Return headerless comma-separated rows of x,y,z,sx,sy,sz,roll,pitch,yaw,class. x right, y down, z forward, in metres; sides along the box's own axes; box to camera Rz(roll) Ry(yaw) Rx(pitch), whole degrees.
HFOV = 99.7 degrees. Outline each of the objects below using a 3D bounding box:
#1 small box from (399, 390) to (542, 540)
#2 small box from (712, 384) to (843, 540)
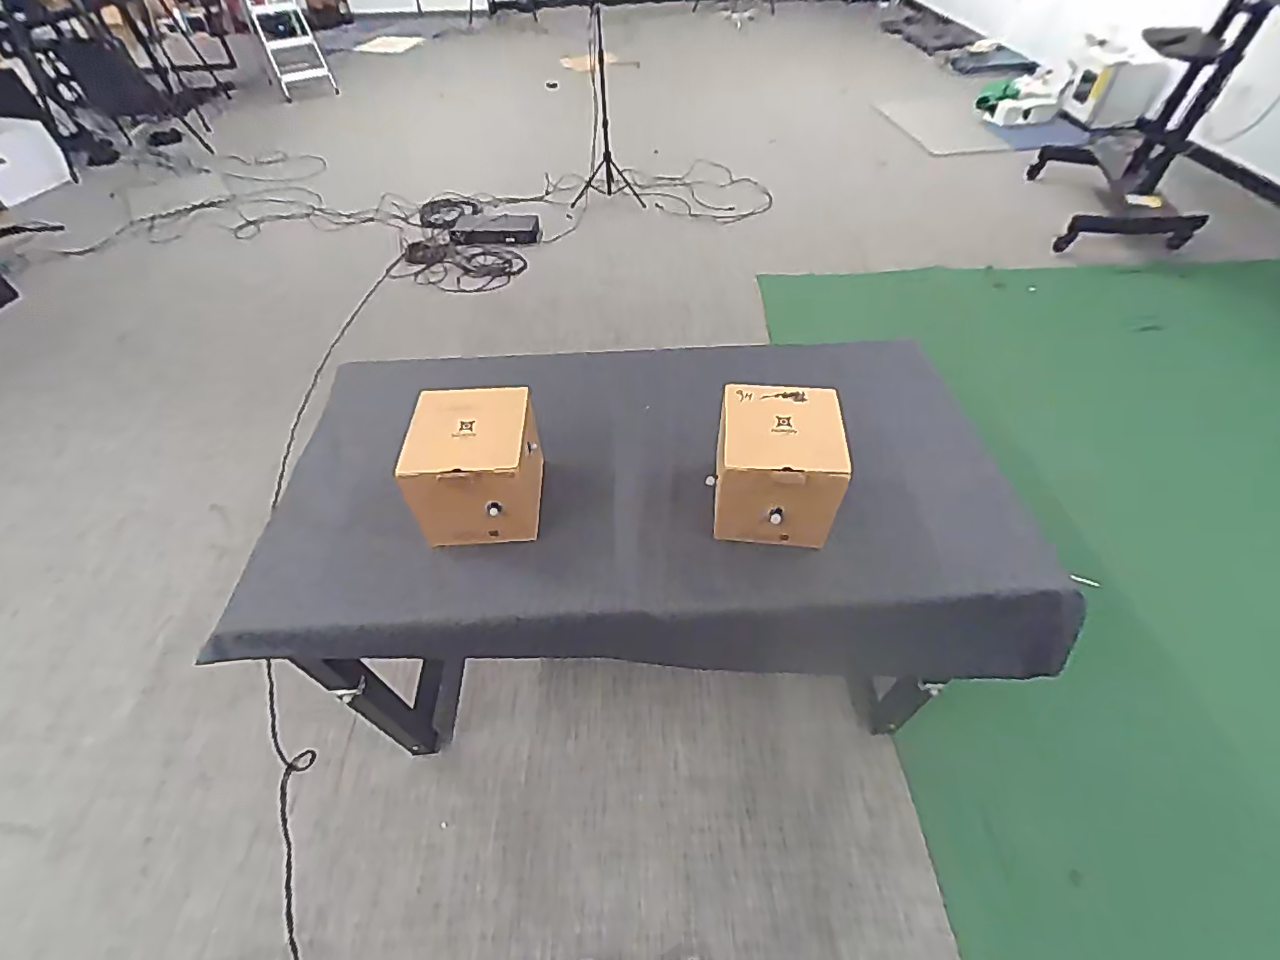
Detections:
-0.249,-0.018,0.843,0.168,0.176,0.179,-3,48,-2,small box
0.200,-0.024,0.826,0.168,0.176,0.179,4,51,5,small box
